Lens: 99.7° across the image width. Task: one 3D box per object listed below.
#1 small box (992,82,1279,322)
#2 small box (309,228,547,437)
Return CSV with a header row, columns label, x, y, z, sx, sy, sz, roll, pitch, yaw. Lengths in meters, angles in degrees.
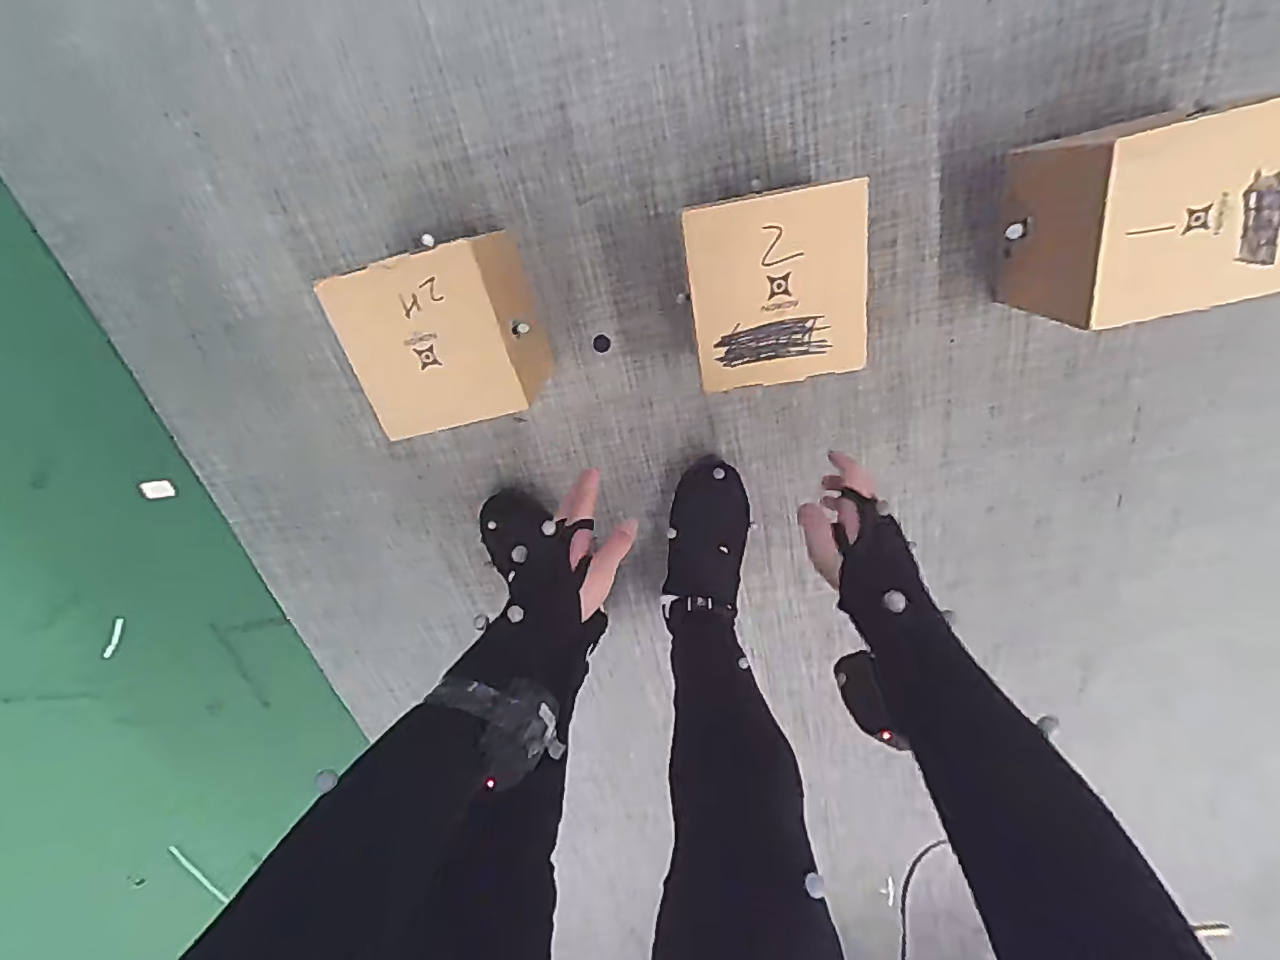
label,x,y,z,sx,sy,sz,roll,pitch,yaw
small box,0.490,-0.272,0.536,0.179,0.176,0.168,-11,116,9
small box,-0.219,-0.173,0.618,0.168,0.176,0.179,-12,116,8
